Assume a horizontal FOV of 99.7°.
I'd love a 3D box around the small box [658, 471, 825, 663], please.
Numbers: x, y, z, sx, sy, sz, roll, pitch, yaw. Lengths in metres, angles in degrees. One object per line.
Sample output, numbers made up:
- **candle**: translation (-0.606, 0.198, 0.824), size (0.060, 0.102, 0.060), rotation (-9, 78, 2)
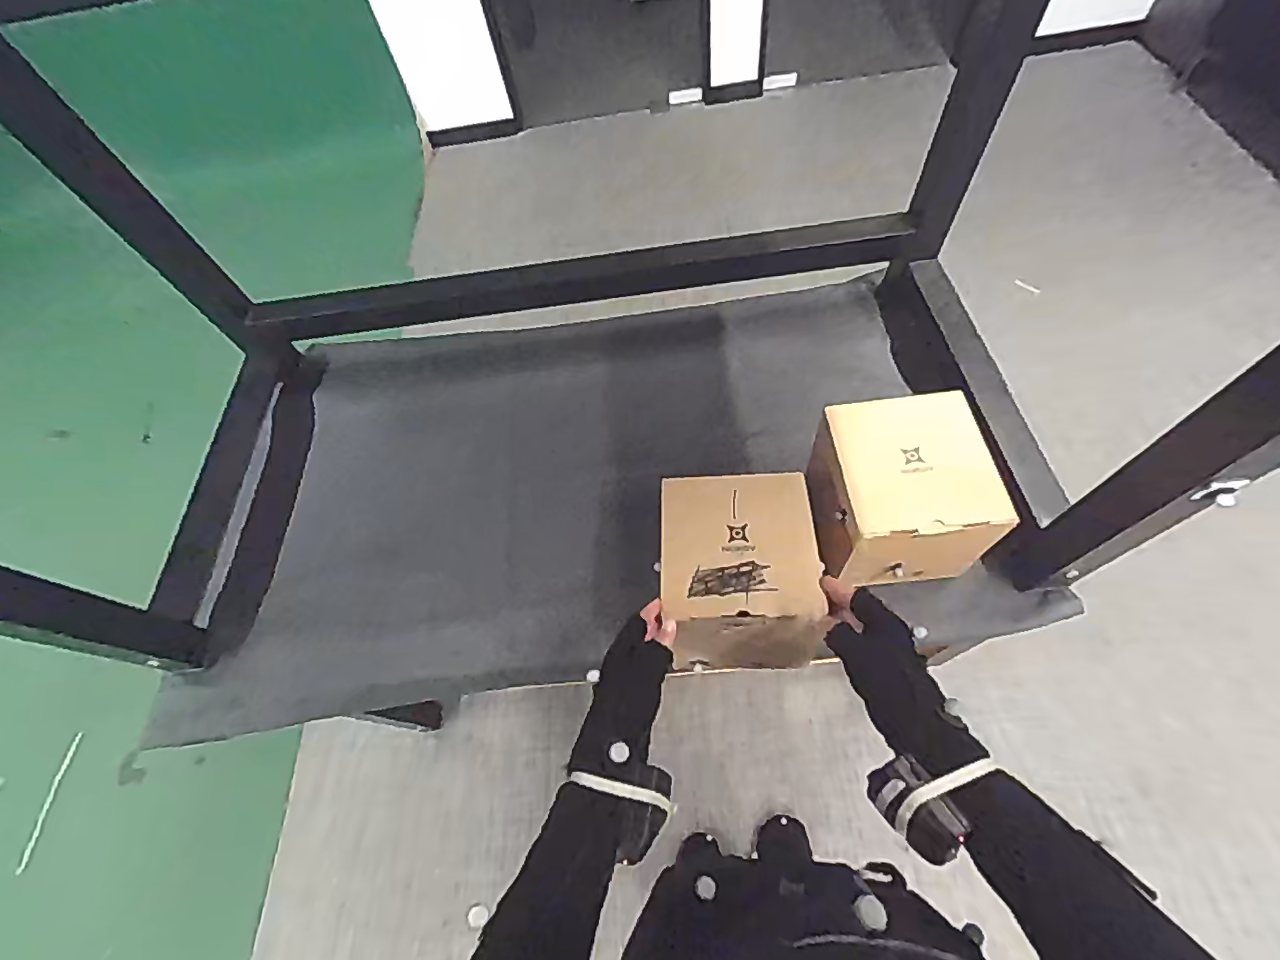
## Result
- **small box**: translation (0.115, 0.111, 0.641), size (0.168, 0.176, 0.179), rotation (-3, 54, 8)
